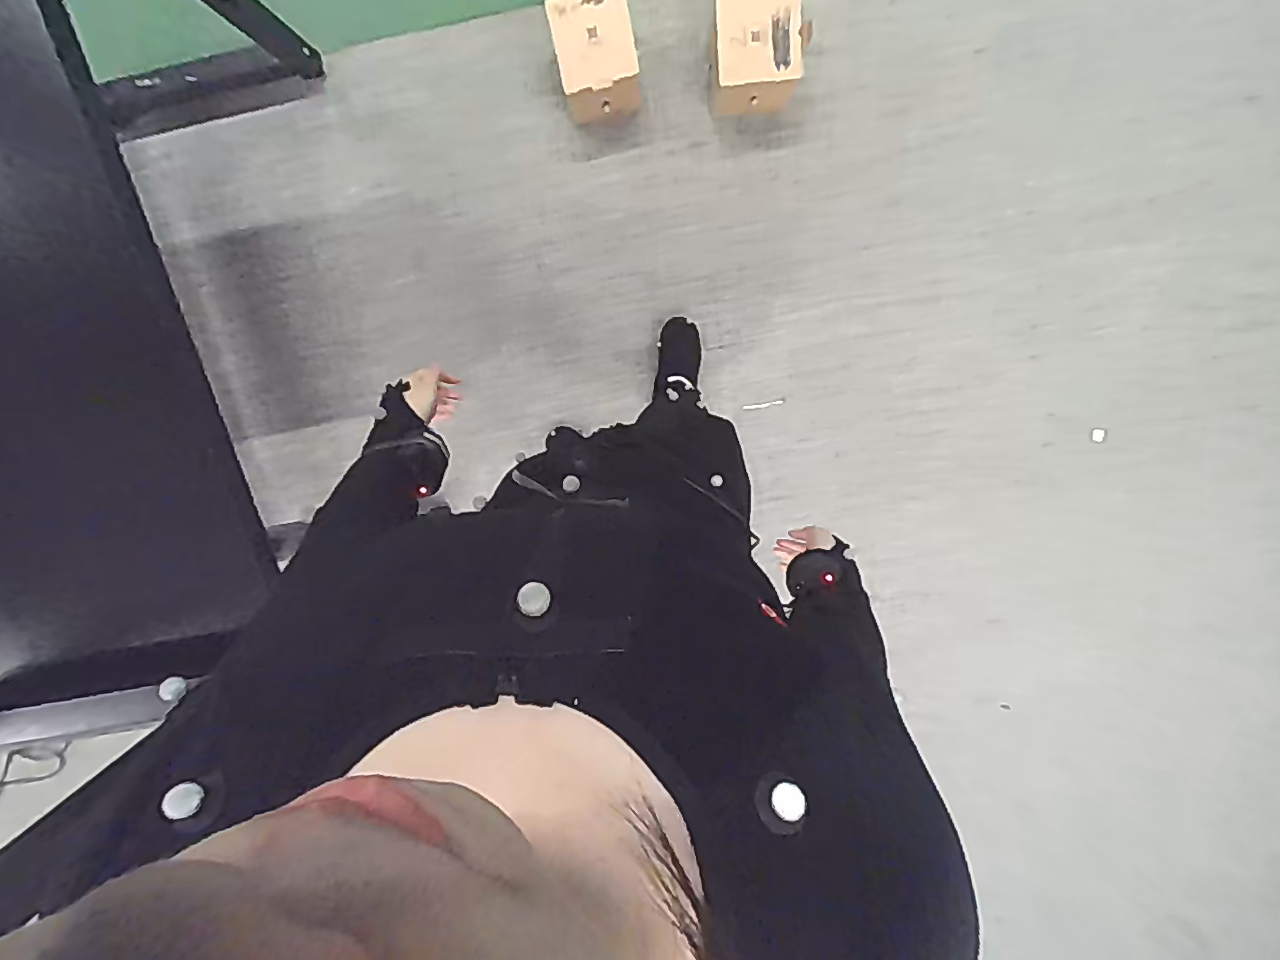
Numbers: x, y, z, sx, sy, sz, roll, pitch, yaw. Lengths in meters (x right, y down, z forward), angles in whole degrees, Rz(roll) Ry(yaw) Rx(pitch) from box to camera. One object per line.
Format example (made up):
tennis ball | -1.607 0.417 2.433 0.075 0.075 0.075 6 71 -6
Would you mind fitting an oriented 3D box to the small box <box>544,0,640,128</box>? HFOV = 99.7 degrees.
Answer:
small box | -0.096 -0.904 1.186 0.168 0.176 0.179 -11 104 4
